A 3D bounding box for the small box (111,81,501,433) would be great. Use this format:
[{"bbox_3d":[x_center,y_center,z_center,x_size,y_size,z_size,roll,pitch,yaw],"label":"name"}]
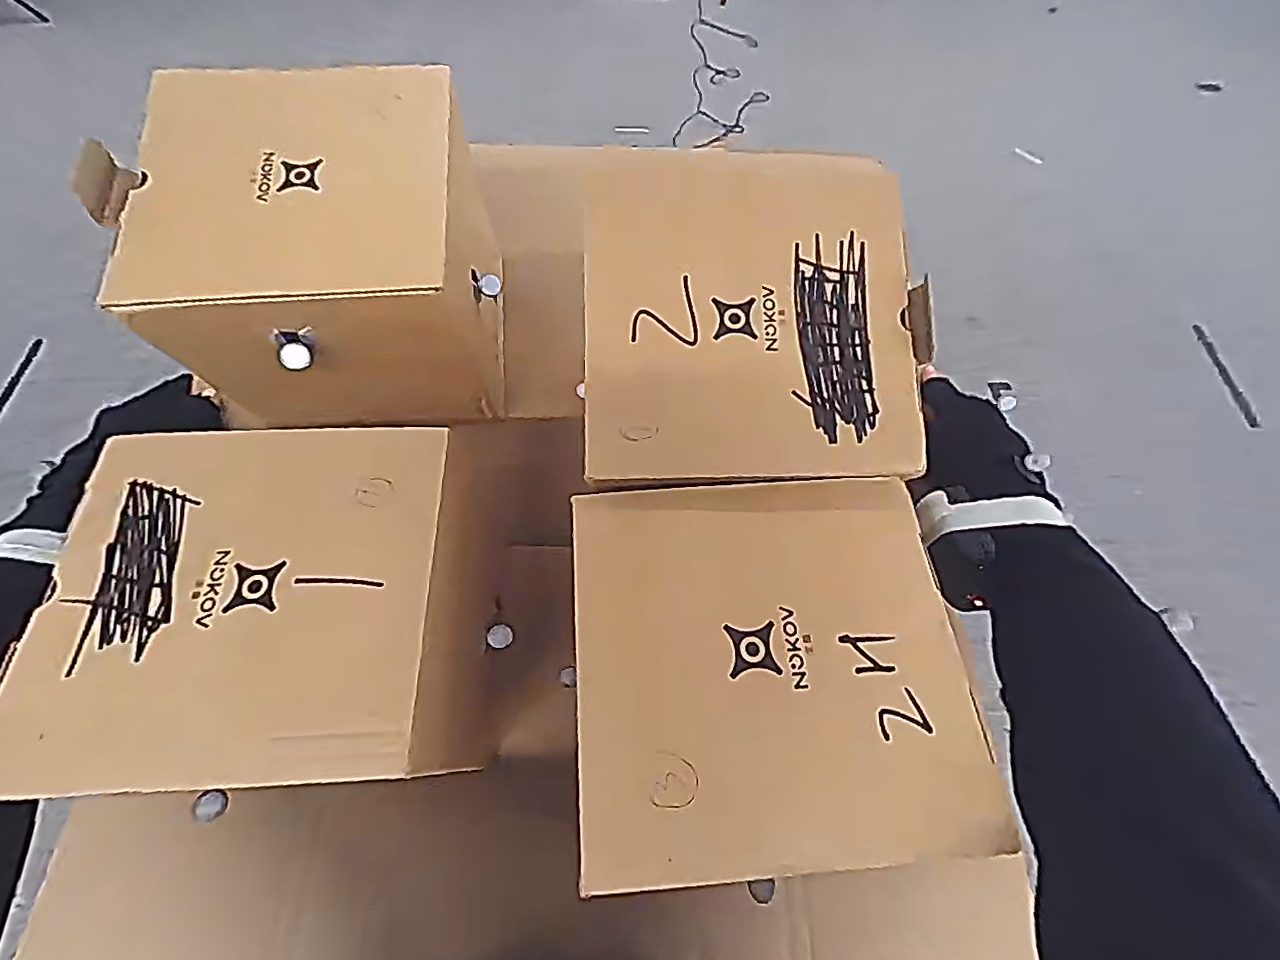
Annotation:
[{"bbox_3d":[-0.201,-0.143,0.389,0.179,0.176,0.168,-4,71,-3],"label":"small box"}]
